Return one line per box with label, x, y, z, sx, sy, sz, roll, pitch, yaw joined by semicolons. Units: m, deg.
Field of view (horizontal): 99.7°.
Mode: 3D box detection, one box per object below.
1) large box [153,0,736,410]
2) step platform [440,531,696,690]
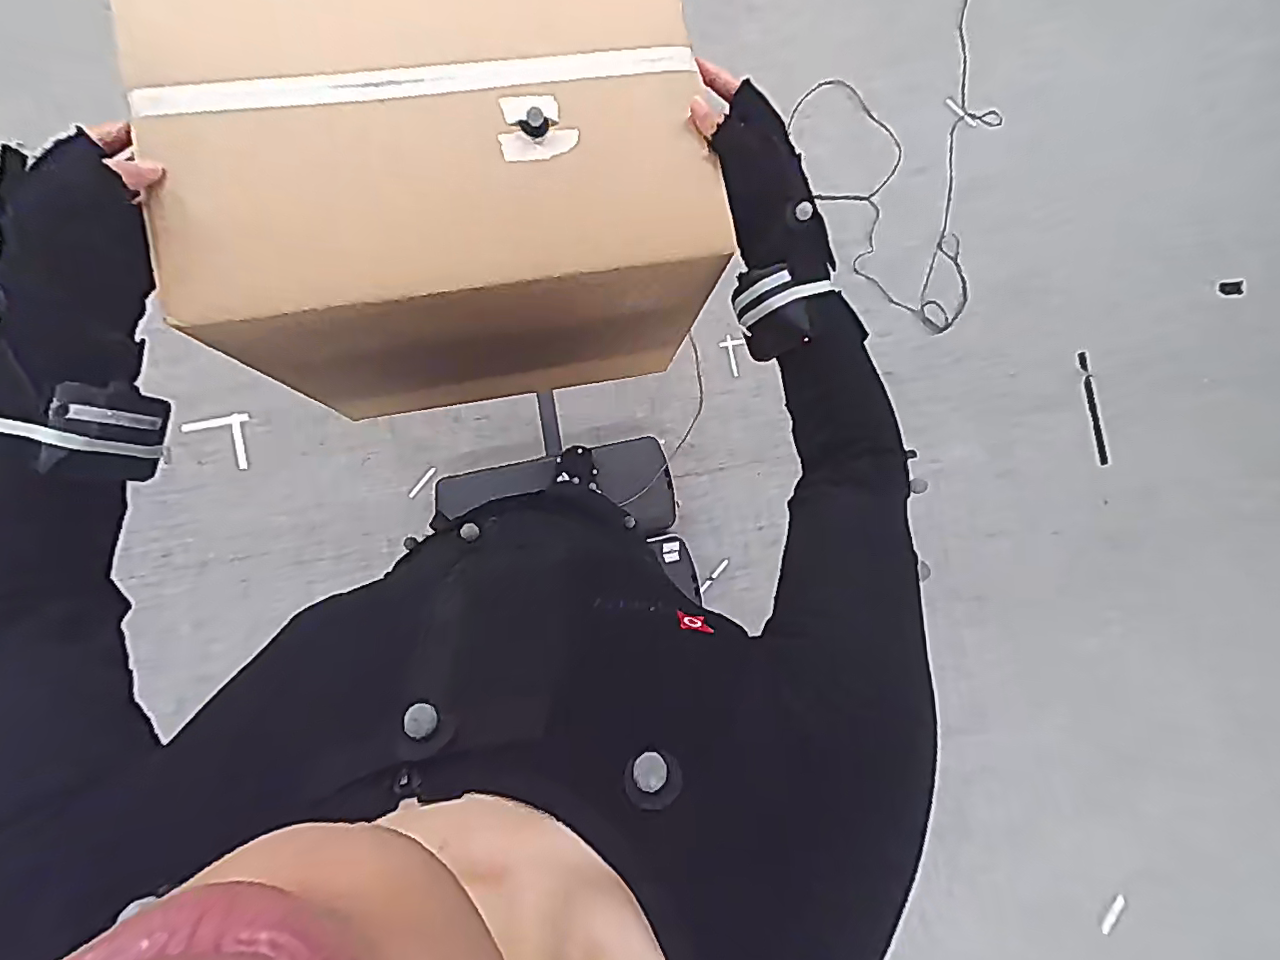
large box;-0.165;-0.287;0.562;0.408;0.320;0.320;-11;87;-9
step platform;-0.188;0.350;1.500;0.684;0.204;0.286;-13;86;-7
